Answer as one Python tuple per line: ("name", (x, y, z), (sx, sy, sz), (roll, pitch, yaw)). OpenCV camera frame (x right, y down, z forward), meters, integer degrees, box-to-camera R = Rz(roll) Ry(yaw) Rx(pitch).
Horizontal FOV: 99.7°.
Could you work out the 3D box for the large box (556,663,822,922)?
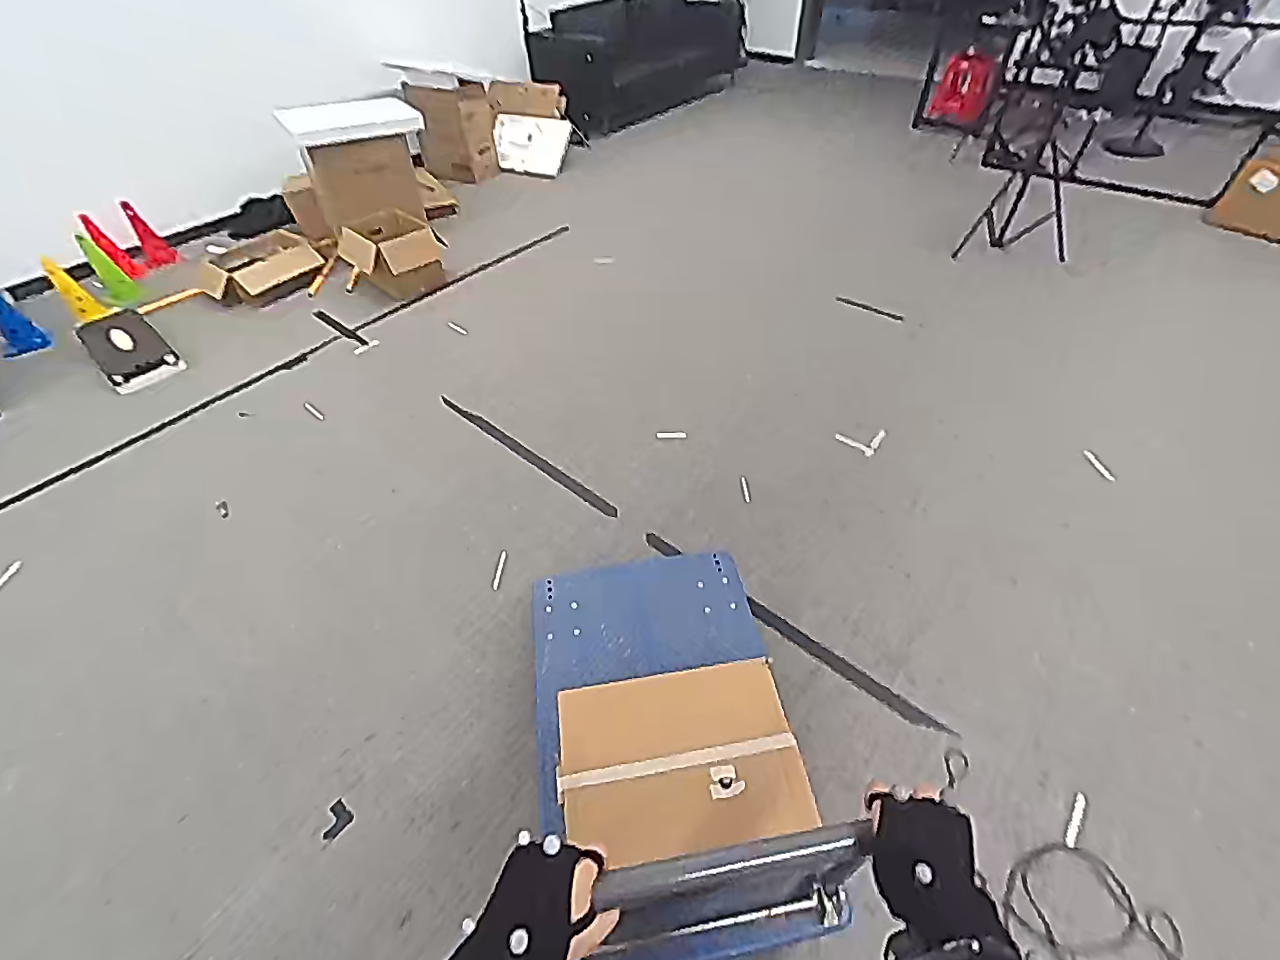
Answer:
("large box", (0.067, 0.592, 1.028), (0.408, 0.320, 0.320), (-7, 47, -6))
